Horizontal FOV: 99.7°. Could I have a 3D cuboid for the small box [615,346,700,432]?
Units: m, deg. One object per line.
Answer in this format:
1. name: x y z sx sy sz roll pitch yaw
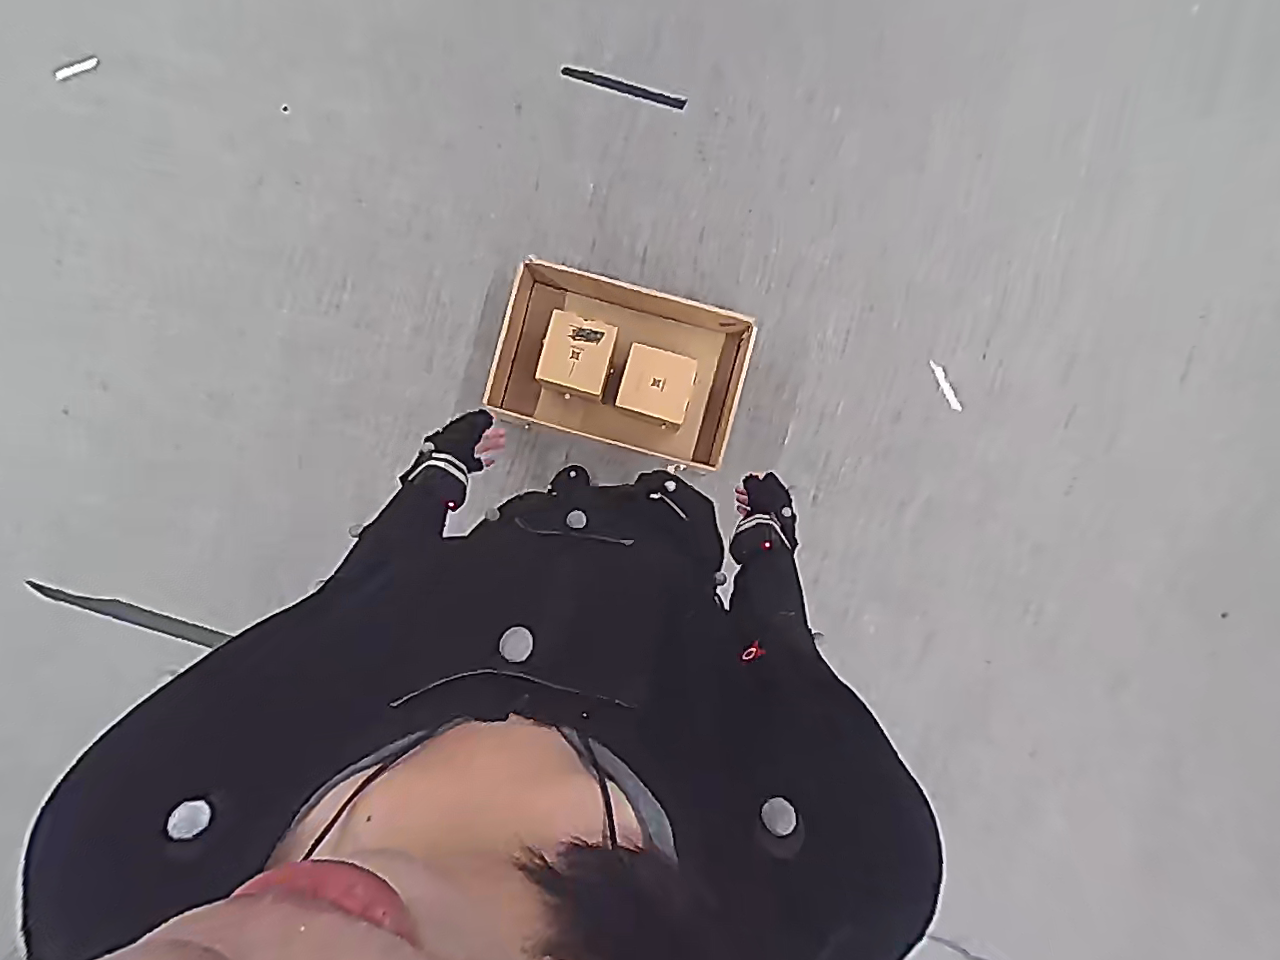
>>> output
1. small box: 0.043 -0.229 1.404 0.179 0.176 0.168 15 88 1
